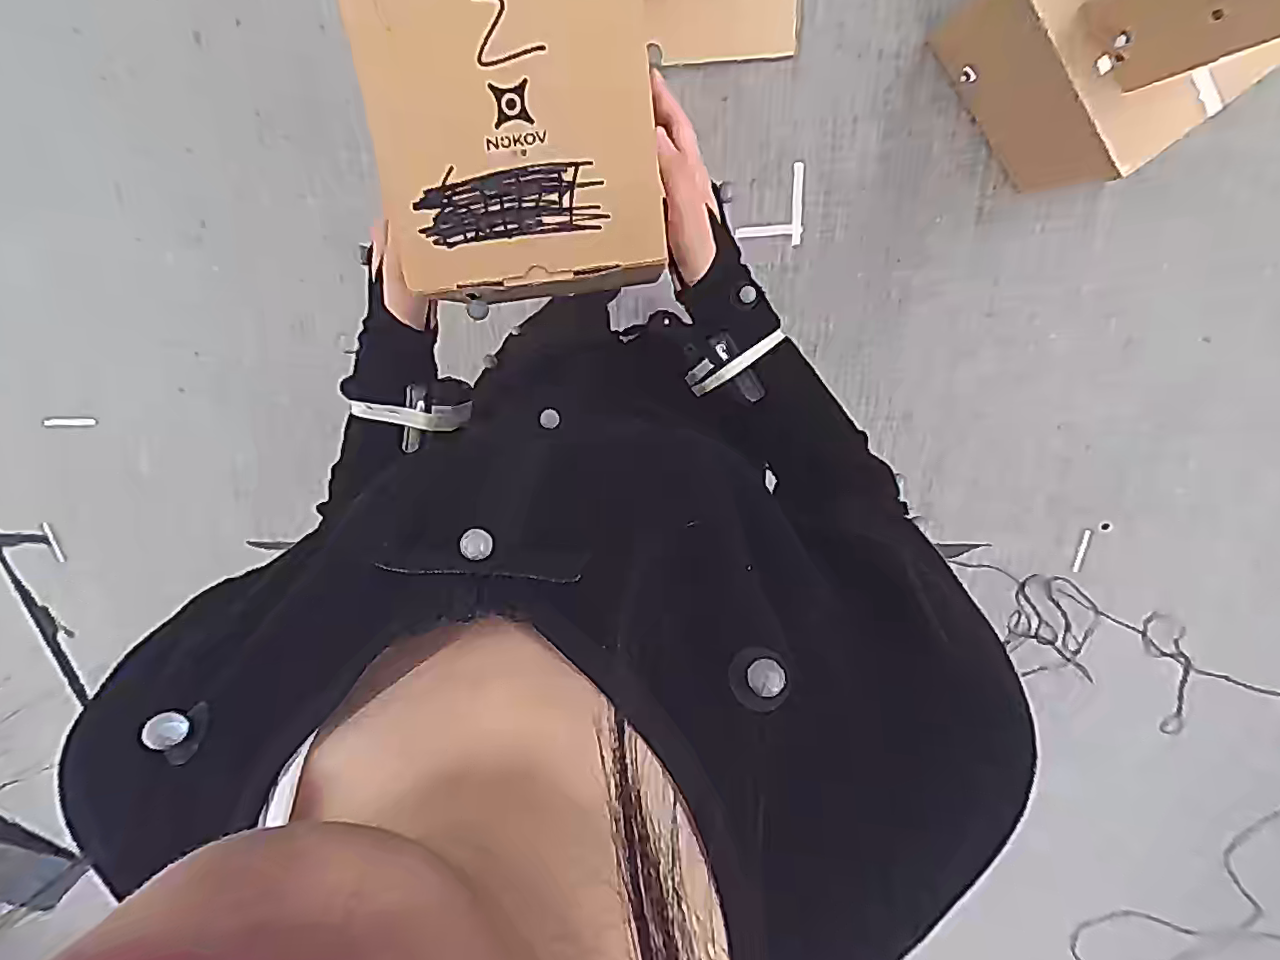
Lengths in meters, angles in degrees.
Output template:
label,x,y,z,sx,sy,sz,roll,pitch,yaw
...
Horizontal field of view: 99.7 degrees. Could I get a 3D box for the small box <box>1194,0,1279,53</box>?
label,x,y,z,sx,sy,sz,roll,pitch,yaw
small box,0.817,-0.667,0.636,0.179,0.176,0.168,-40,105,16

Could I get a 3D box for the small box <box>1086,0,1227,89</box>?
label,x,y,z,sx,sy,sz,roll,pitch,yaw
small box,0.821,-0.726,0.789,0.179,0.176,0.168,-40,105,17
